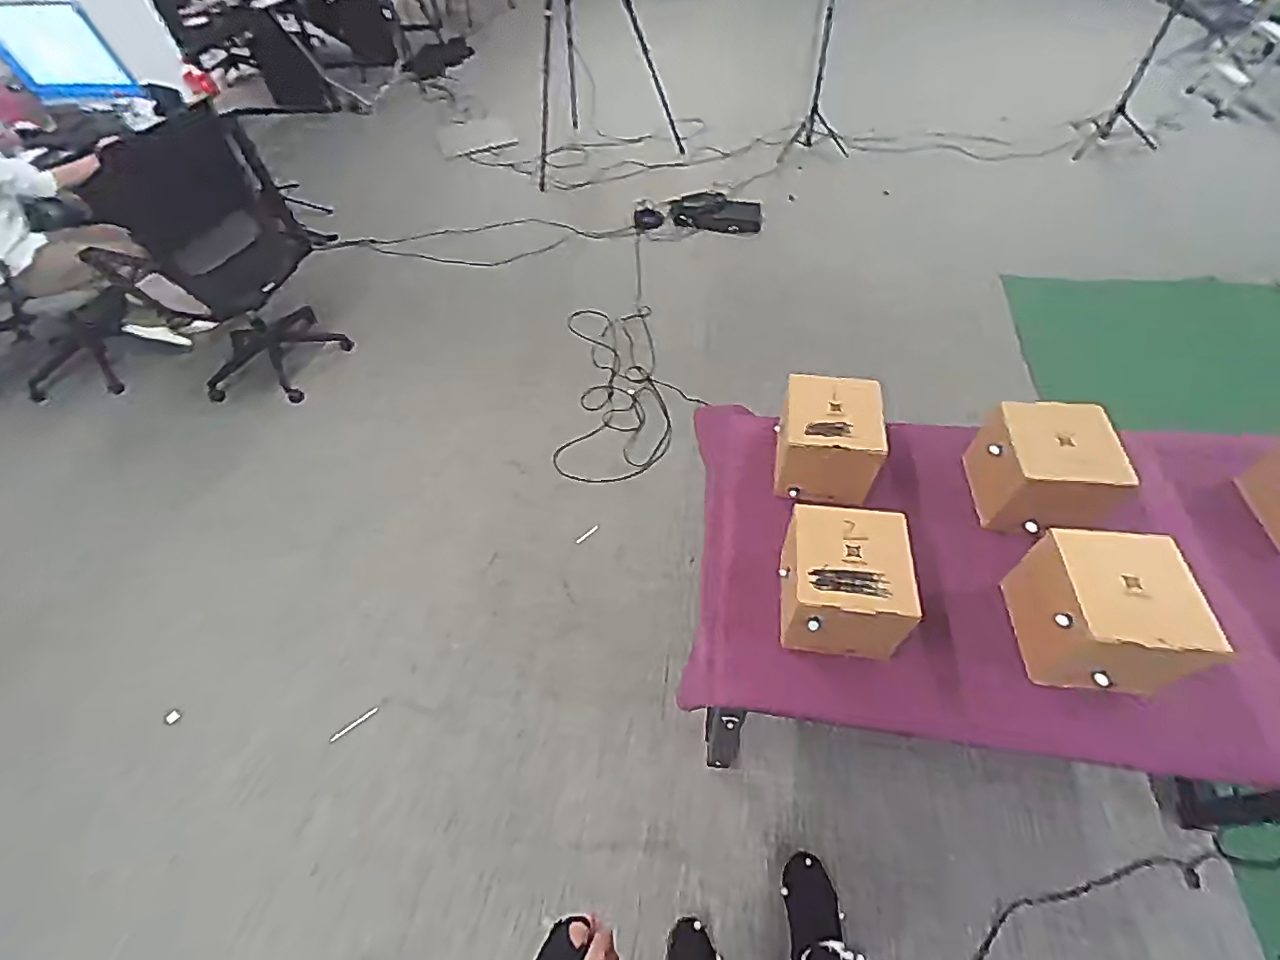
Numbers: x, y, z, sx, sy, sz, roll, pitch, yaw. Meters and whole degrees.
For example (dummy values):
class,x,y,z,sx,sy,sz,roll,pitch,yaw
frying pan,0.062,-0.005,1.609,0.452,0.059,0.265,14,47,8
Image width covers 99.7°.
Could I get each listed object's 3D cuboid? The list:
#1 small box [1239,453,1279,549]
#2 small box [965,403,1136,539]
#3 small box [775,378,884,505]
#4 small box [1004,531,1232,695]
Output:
class,x,y,z,sx,sy,sz,roll,pitch,yaw
small box,1.176,0.028,0.890,0.168,0.176,0.179,3,53,8
small box,0.711,-0.014,0.966,0.168,0.176,0.179,4,54,9
small box,0.355,-0.070,1.035,0.168,0.176,0.179,6,54,9
small box,0.682,0.199,0.804,0.168,0.176,0.179,4,53,7
